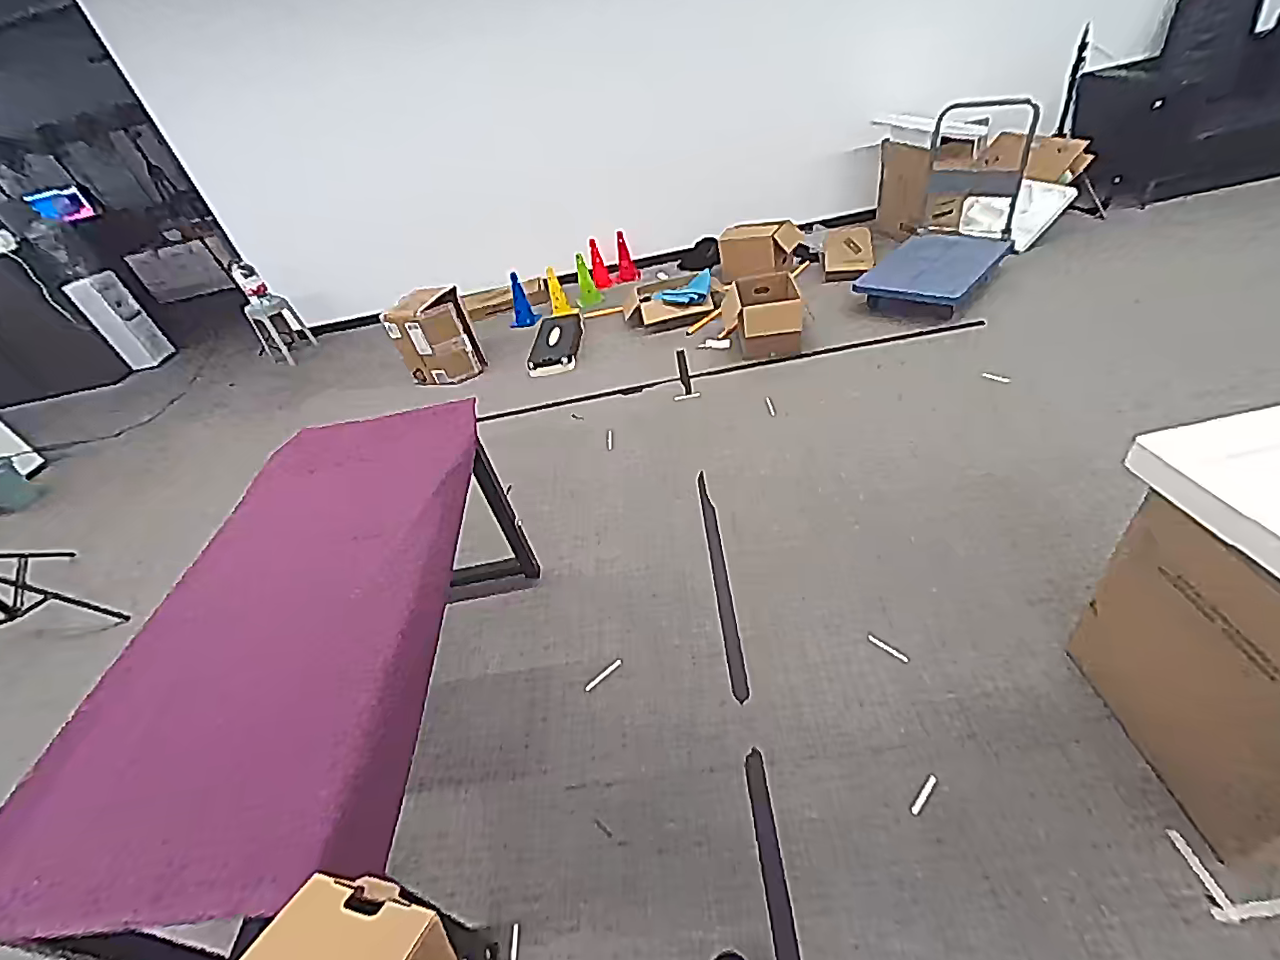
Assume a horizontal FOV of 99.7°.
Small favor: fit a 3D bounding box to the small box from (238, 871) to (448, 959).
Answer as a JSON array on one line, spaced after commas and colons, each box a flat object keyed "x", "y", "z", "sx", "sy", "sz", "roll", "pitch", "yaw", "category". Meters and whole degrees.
[{"x": -0.282, "y": 0.516, "z": 0.493, "sx": 0.168, "sy": 0.176, "sz": 0.179, "roll": -2, "pitch": 19, "yaw": 22, "category": "small box"}]
